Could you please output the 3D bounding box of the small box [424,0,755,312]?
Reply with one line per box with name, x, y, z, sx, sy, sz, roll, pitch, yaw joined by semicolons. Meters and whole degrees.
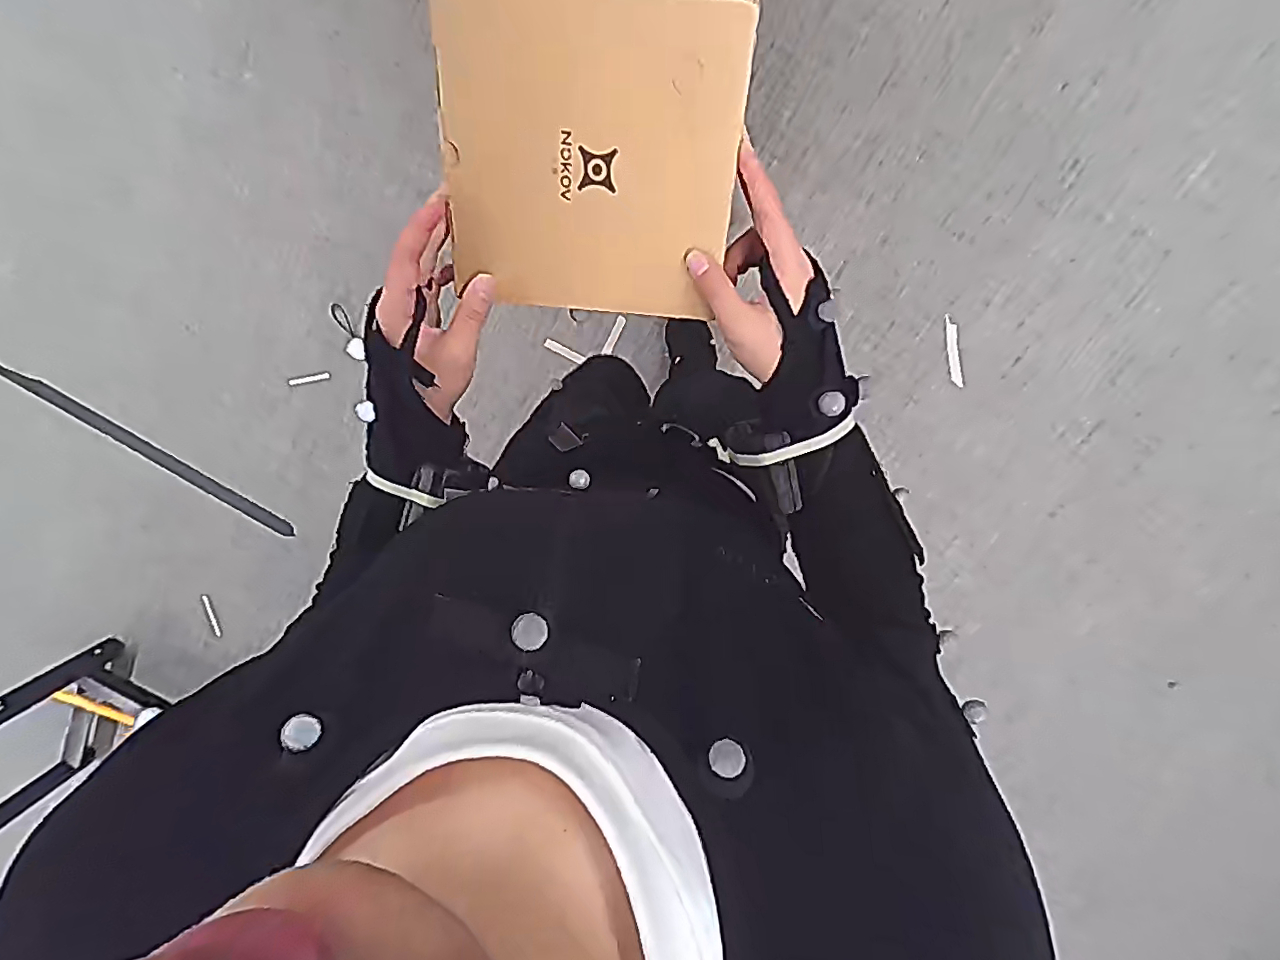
small box;-0.031;-0.228;0.386;0.179;0.176;0.168;5;120;-1
